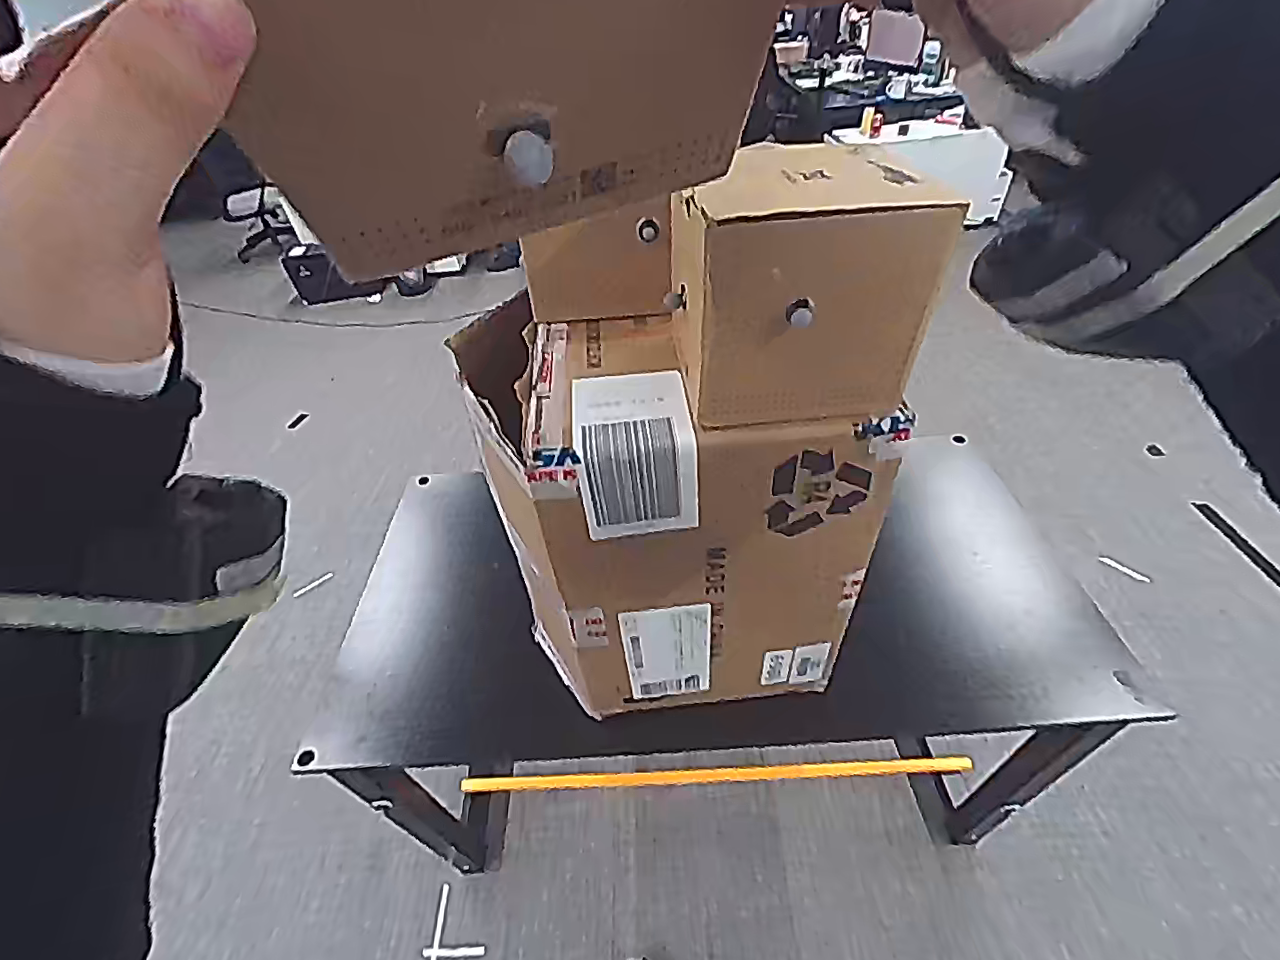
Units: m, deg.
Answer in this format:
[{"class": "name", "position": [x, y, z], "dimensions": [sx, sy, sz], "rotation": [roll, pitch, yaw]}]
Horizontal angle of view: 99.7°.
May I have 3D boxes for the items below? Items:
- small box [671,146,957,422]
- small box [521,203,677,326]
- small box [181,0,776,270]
[{"class": "small box", "position": [0.124, -0.165, 0.465], "dimensions": [0.179, 0.176, 0.168], "rotation": [-6, 45, -1]}, {"class": "small box", "position": [-0.039, -0.290, 0.614], "dimensions": [0.179, 0.176, 0.168], "rotation": [-6, 40, -1]}, {"class": "small box", "position": [-0.061, -0.202, 0.166], "dimensions": [0.168, 0.176, 0.179], "rotation": [-20, 81, -8]}]
